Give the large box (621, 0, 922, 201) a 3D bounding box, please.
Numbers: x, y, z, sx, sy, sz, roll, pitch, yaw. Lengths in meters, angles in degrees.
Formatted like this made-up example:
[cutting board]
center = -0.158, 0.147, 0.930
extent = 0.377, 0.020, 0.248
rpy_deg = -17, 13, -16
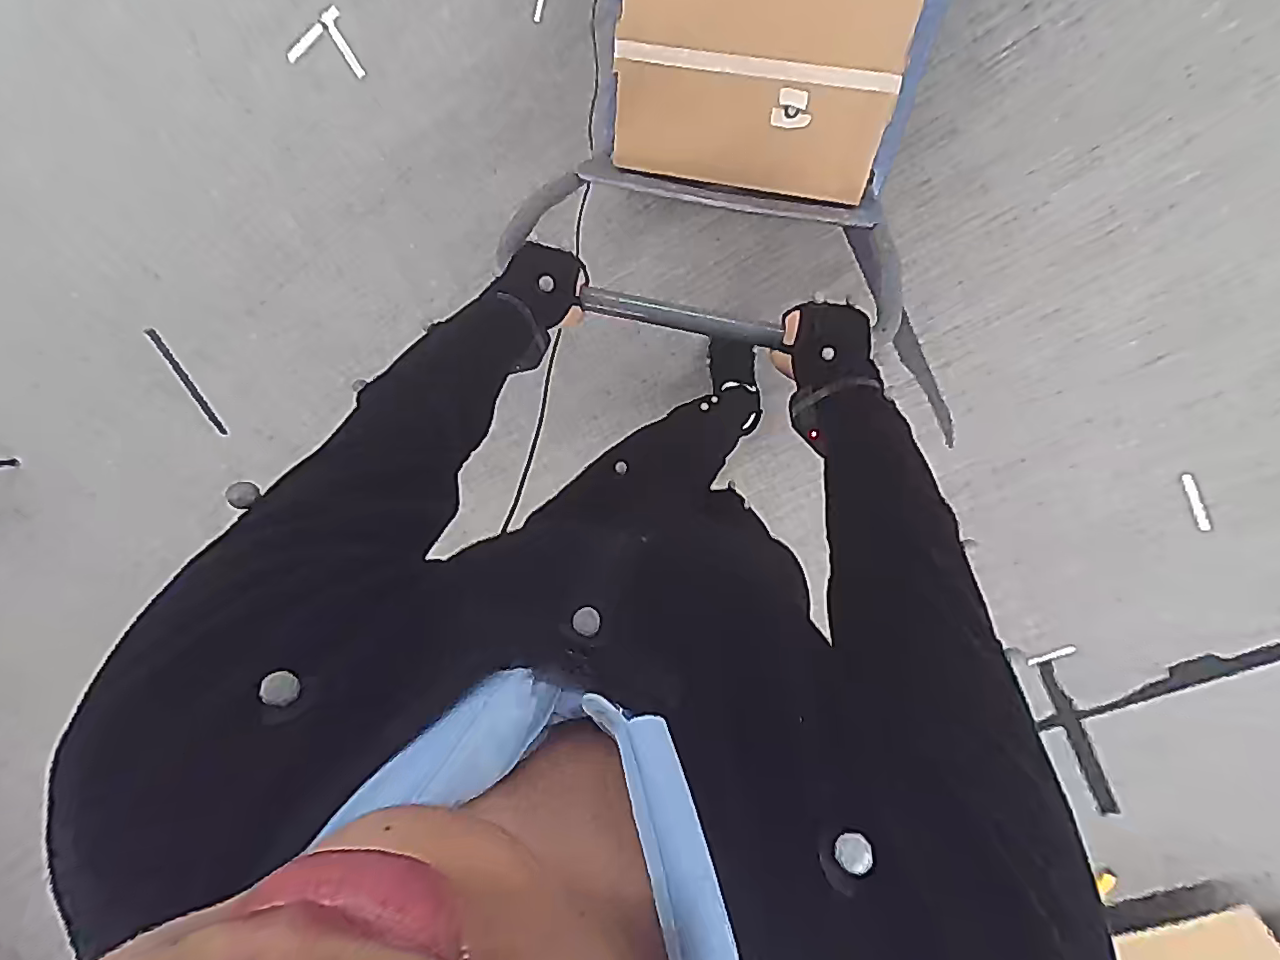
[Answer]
[large box]
center = 0.203, -0.690, 0.909
extent = 0.408, 0.320, 0.320
rpy_deg = 13, 129, 6
